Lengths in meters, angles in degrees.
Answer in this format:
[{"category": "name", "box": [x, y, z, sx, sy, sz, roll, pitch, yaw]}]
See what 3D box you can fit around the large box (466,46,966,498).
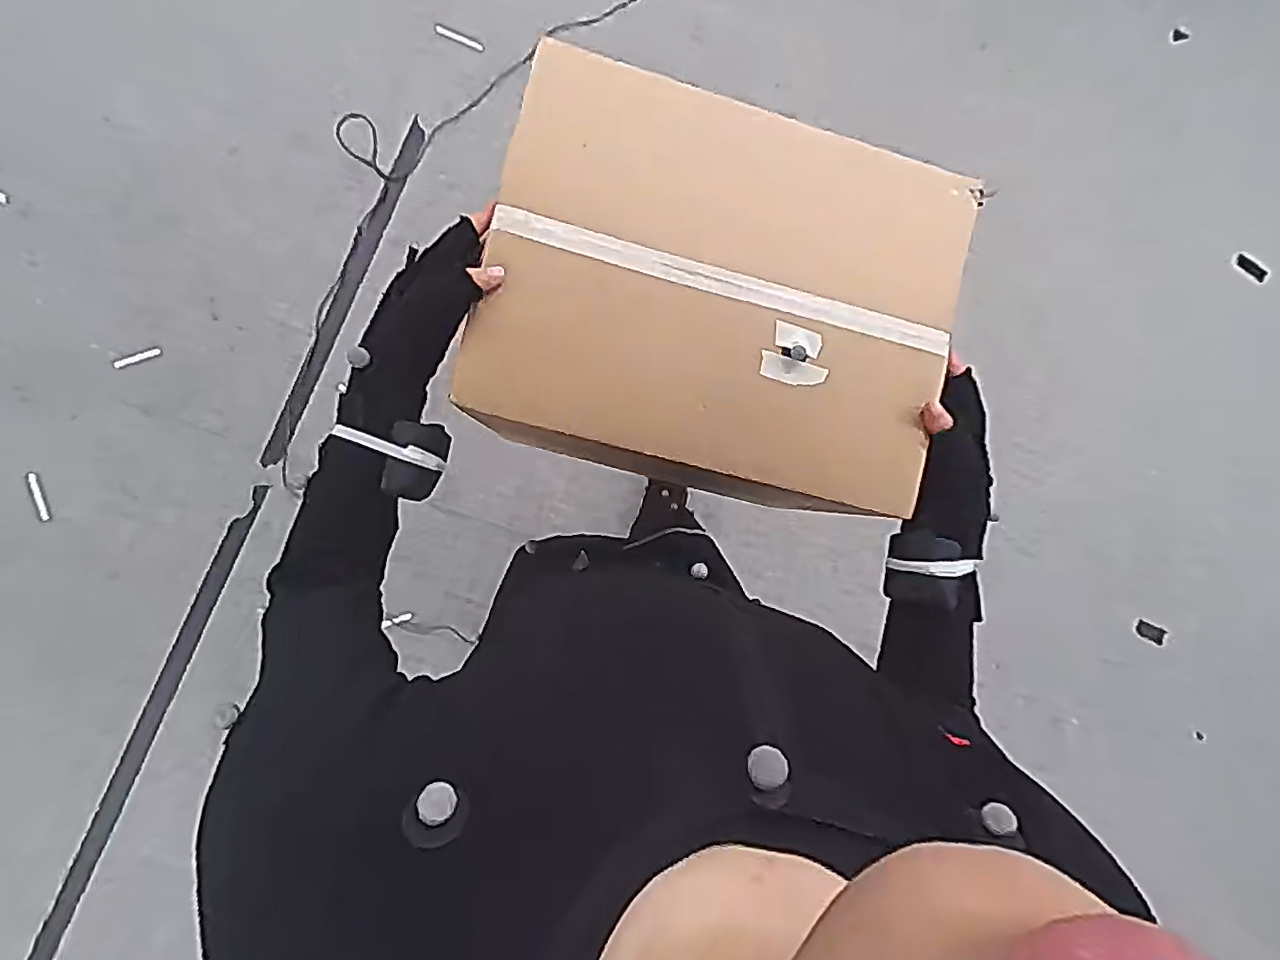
[{"category": "large box", "box": [0.060, -0.175, 0.621, 0.408, 0.320, 0.320, 15, 89, -7]}]
